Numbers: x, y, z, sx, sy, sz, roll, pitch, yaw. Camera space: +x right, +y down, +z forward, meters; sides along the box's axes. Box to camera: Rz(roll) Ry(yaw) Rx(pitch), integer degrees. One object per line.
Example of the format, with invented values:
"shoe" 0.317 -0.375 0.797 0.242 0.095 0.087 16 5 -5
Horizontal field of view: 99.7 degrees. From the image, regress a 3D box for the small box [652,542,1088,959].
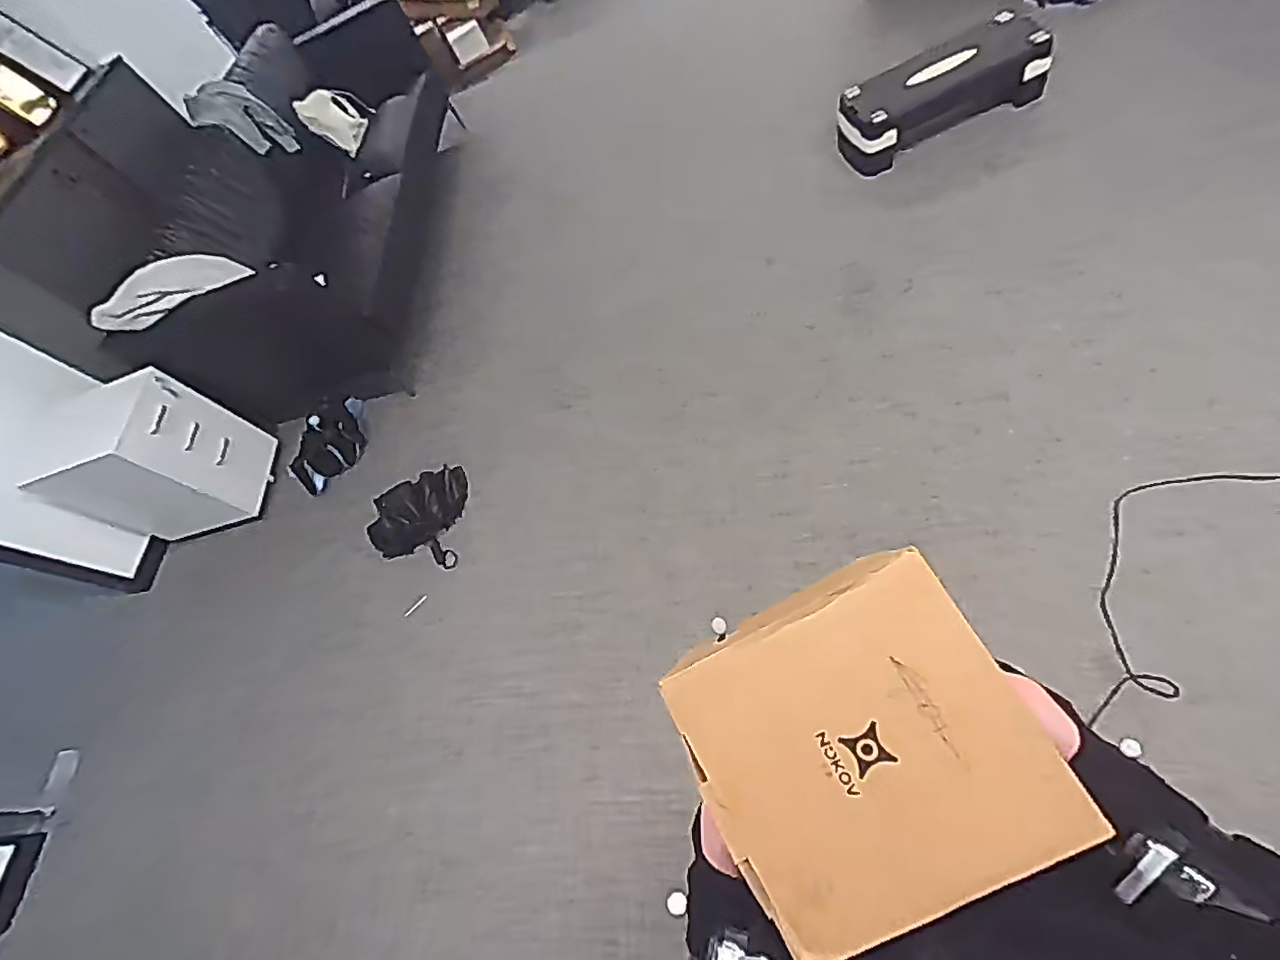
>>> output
"small box" 0.134 0.161 0.377 0.179 0.176 0.168 -32 76 5
